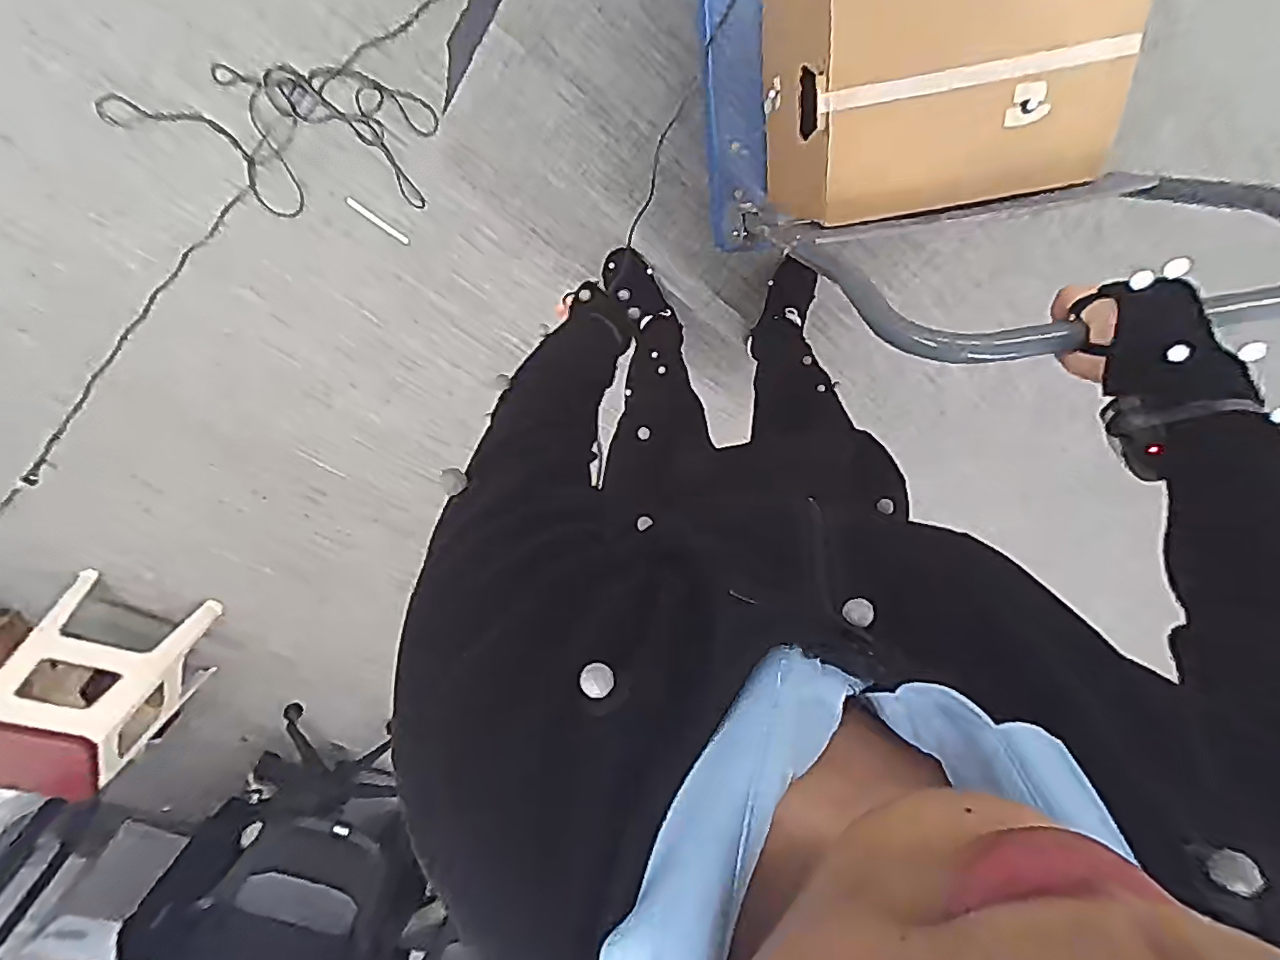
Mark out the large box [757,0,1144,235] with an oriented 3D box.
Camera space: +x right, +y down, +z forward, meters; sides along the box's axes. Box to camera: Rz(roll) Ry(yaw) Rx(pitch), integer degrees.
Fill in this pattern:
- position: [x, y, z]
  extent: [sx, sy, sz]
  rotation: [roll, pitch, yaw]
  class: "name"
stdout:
- position: [0.420, -0.595, 0.823]
  extent: [0.408, 0.320, 0.320]
  rotation: [-10, 123, 1]
  class: "large box"
